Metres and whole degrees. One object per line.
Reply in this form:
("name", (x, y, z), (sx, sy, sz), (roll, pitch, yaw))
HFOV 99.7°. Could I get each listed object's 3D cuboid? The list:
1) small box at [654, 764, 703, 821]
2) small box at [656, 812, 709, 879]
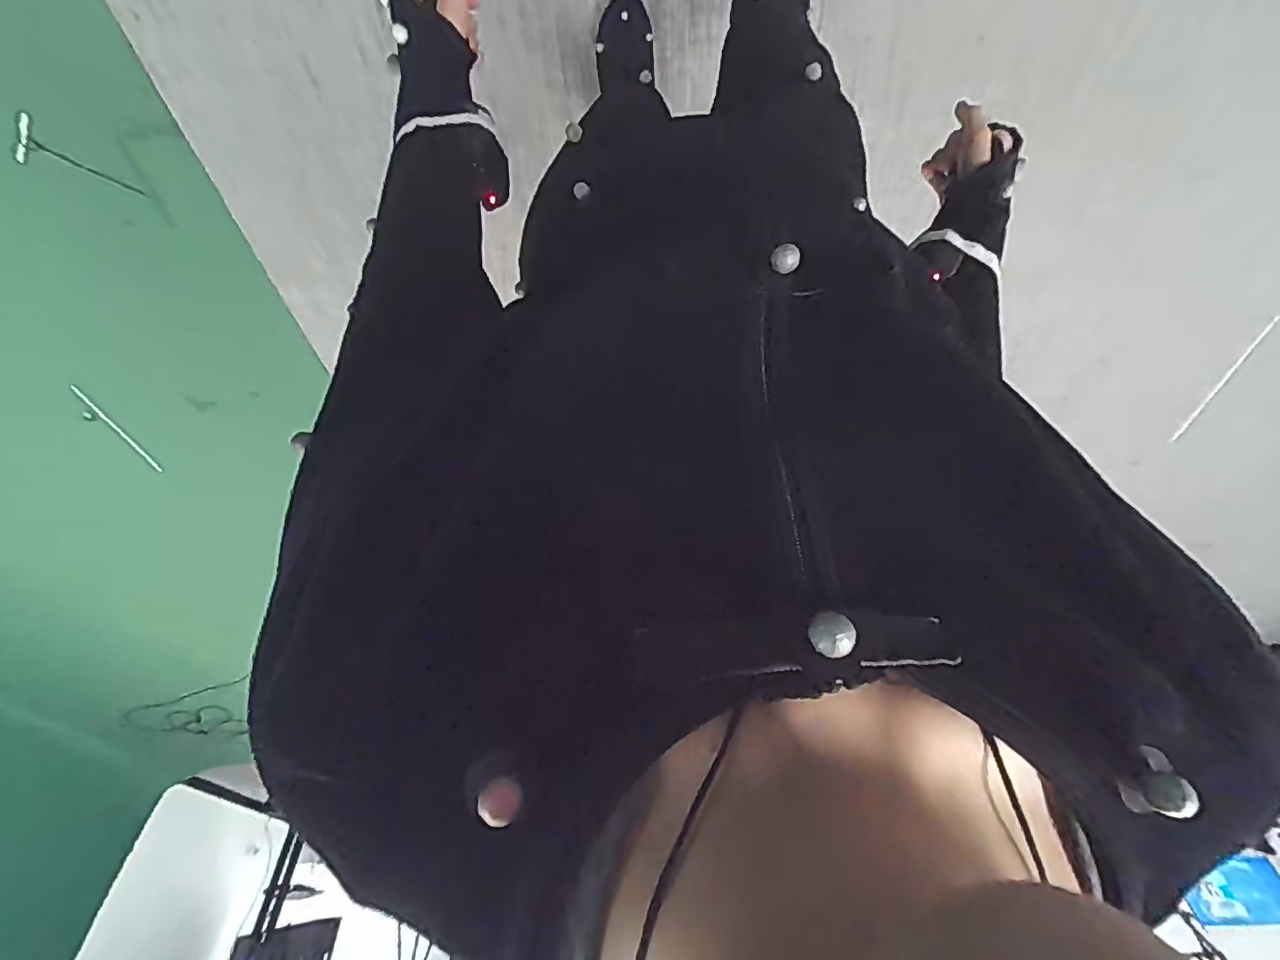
("small box", (0.144, 1.177, 2.022), (0.179, 0.176, 0.168), (-6, 137, 4))
("small box", (0.147, 1.283, 1.897), (0.179, 0.176, 0.168), (-5, 137, 2))
